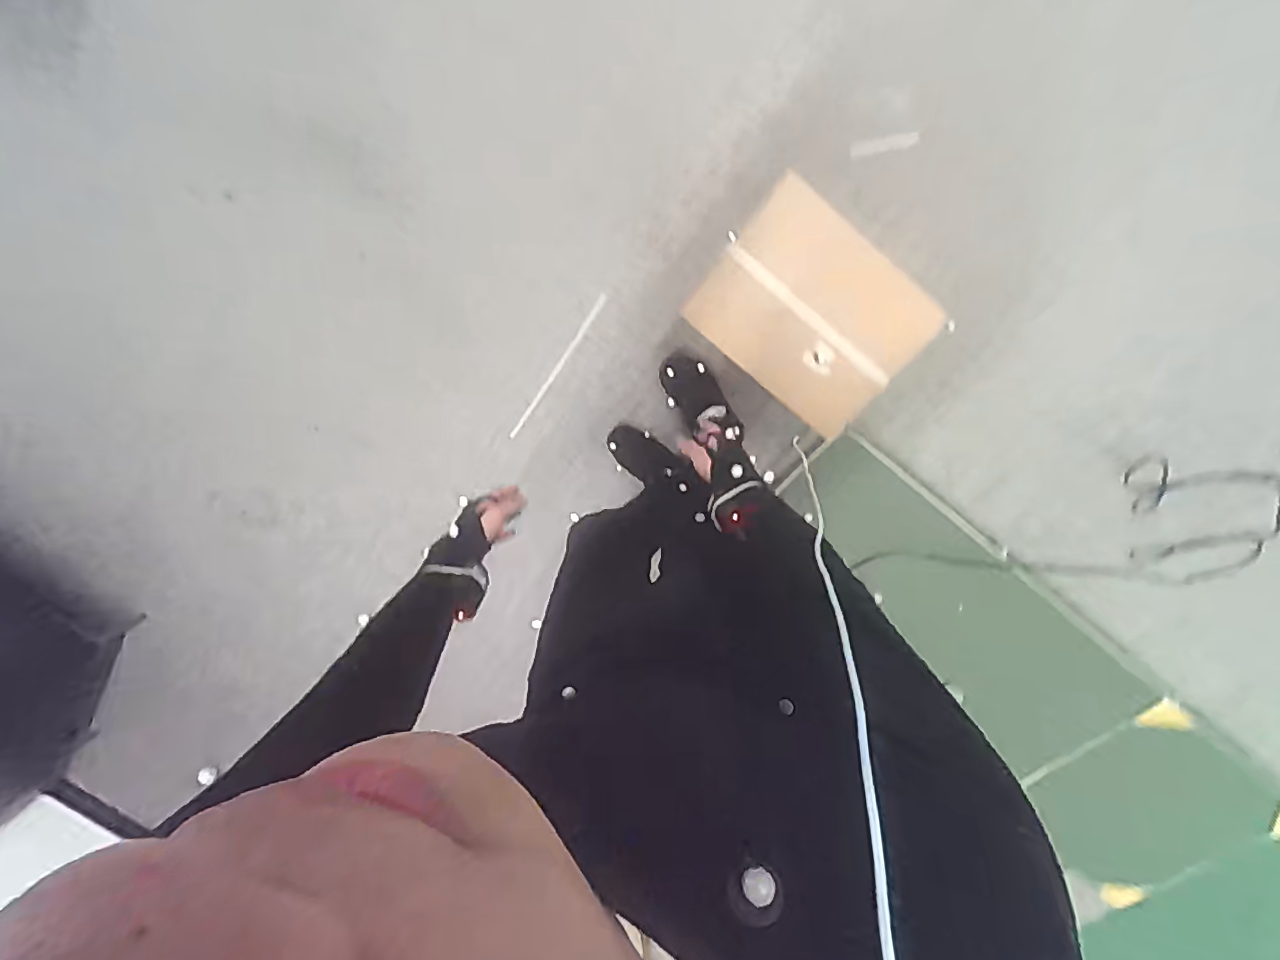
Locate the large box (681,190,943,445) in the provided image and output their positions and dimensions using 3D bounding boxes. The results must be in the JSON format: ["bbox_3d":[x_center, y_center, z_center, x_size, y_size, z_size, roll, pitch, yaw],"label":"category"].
[{"bbox_3d":[0.342,-0.349,1.181,0.408,0.320,0.320,39,111,-7],"label":"large box"}]
